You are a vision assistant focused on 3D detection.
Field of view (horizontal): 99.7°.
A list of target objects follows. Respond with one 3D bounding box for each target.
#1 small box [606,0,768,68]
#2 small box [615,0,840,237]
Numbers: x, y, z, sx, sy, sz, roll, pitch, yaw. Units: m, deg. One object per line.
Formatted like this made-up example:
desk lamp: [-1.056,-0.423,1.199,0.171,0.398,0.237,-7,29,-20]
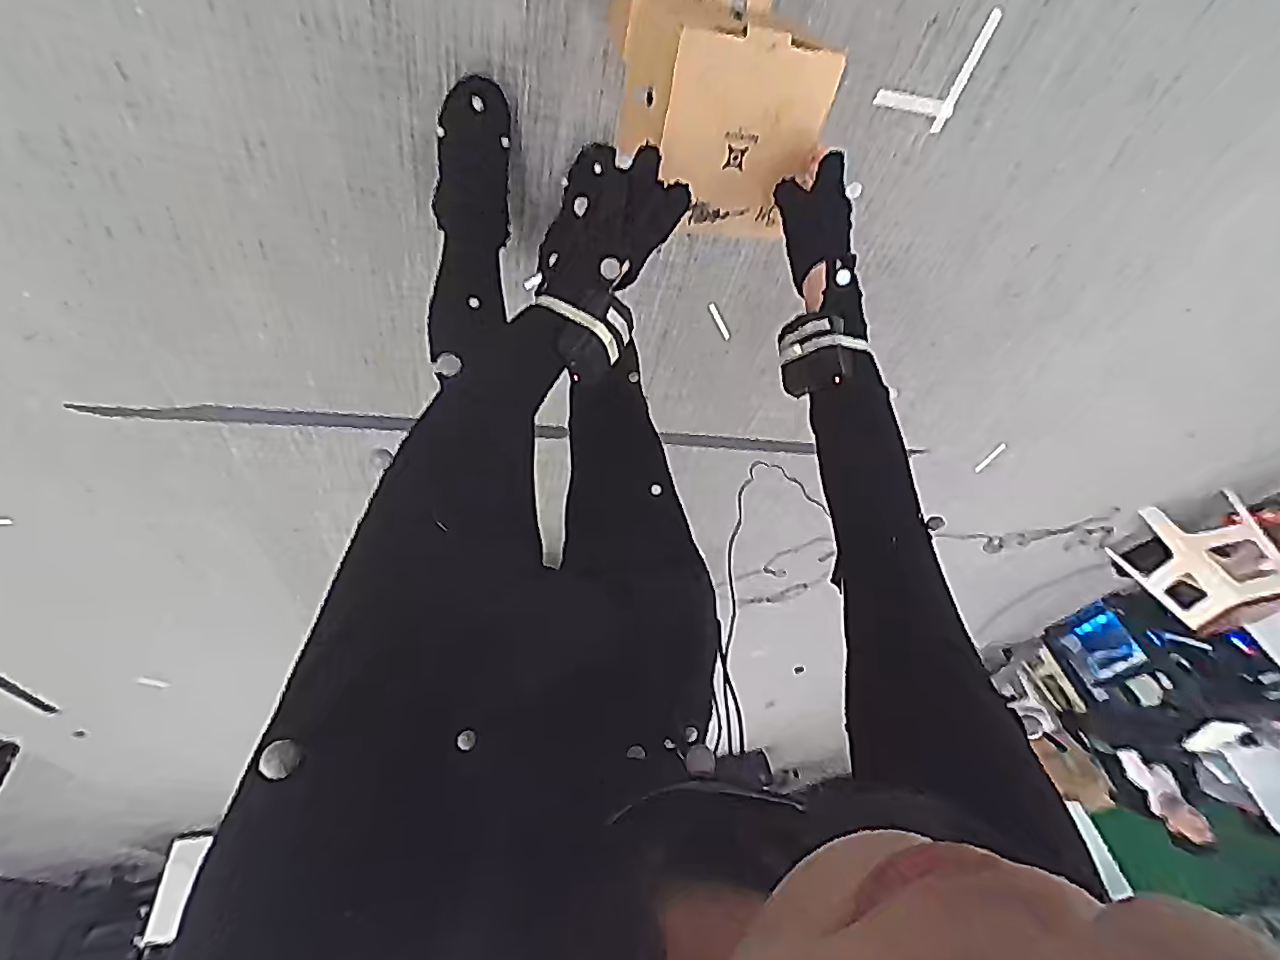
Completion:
small box: [0.060,-0.651,0.717,0.179,0.176,0.168,1,139,-15]
small box: [0.076,-0.393,0.587,0.168,0.176,0.179,-3,139,-16]
